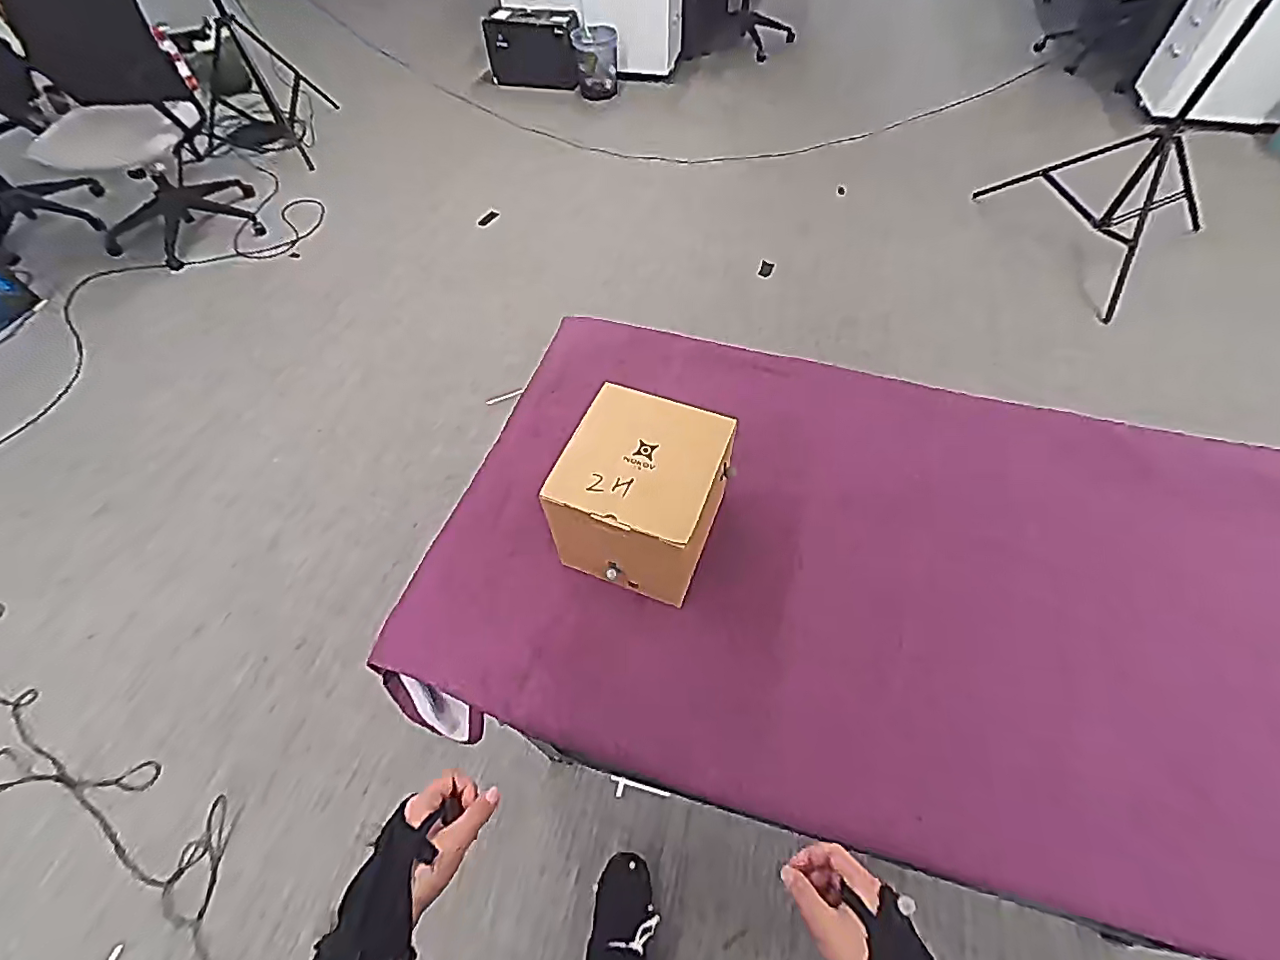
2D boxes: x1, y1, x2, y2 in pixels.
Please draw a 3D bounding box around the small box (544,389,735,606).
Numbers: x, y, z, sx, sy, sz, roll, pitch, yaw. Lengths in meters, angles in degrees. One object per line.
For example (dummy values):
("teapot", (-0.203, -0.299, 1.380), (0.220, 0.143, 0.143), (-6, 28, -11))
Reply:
("small box", (0.004, 0.024, 0.660), (0.168, 0.176, 0.179), (18, 58, 13))
